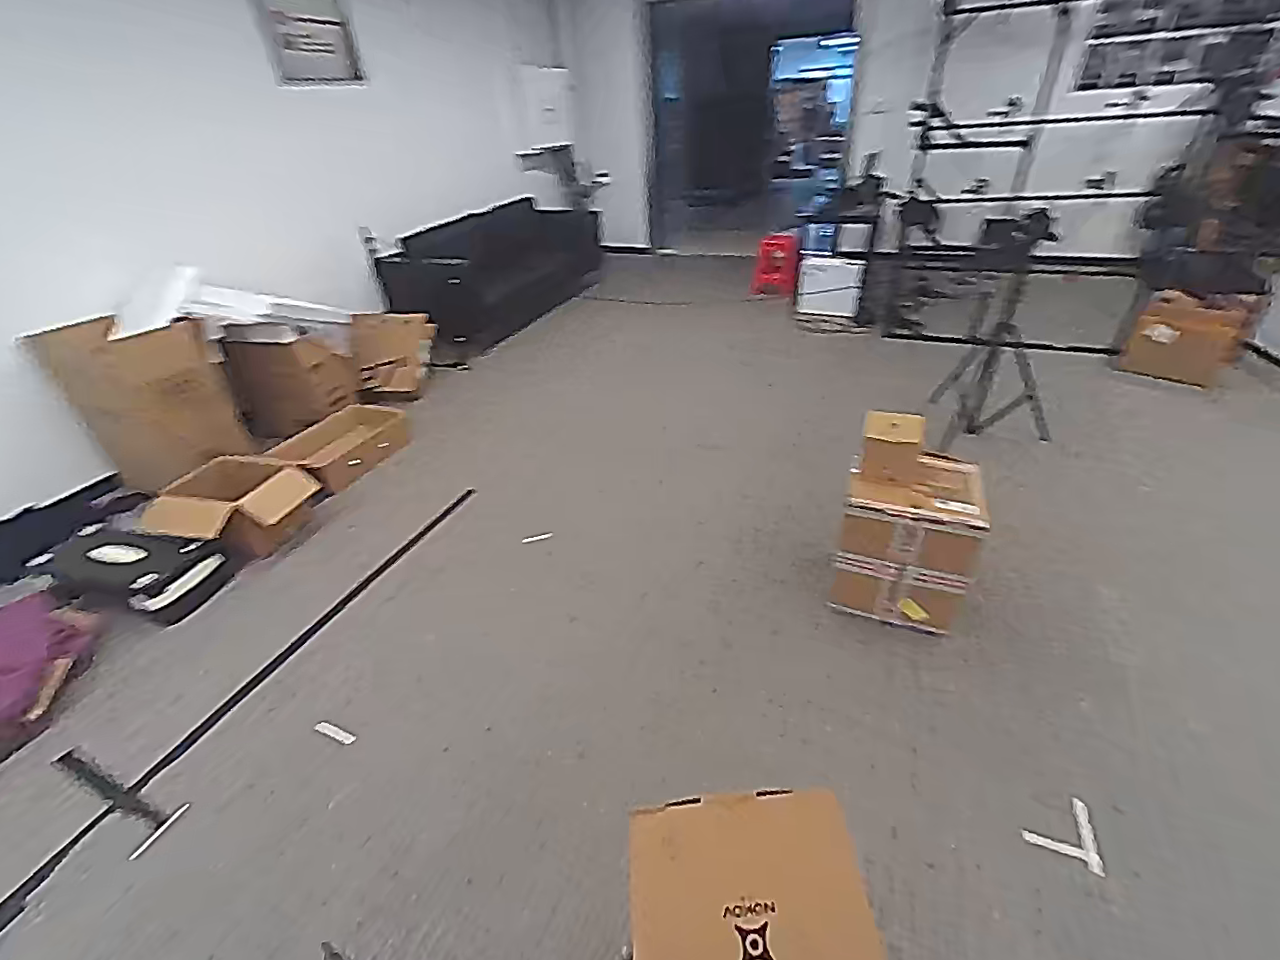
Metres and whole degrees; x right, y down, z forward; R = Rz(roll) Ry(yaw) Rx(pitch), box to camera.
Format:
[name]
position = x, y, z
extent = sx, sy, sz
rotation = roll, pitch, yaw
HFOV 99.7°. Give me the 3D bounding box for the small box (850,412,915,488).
[small box]
position = 0.793, -0.100, 1.773
extent = 0.168, 0.176, 0.179
rotation = 10, 39, 22
